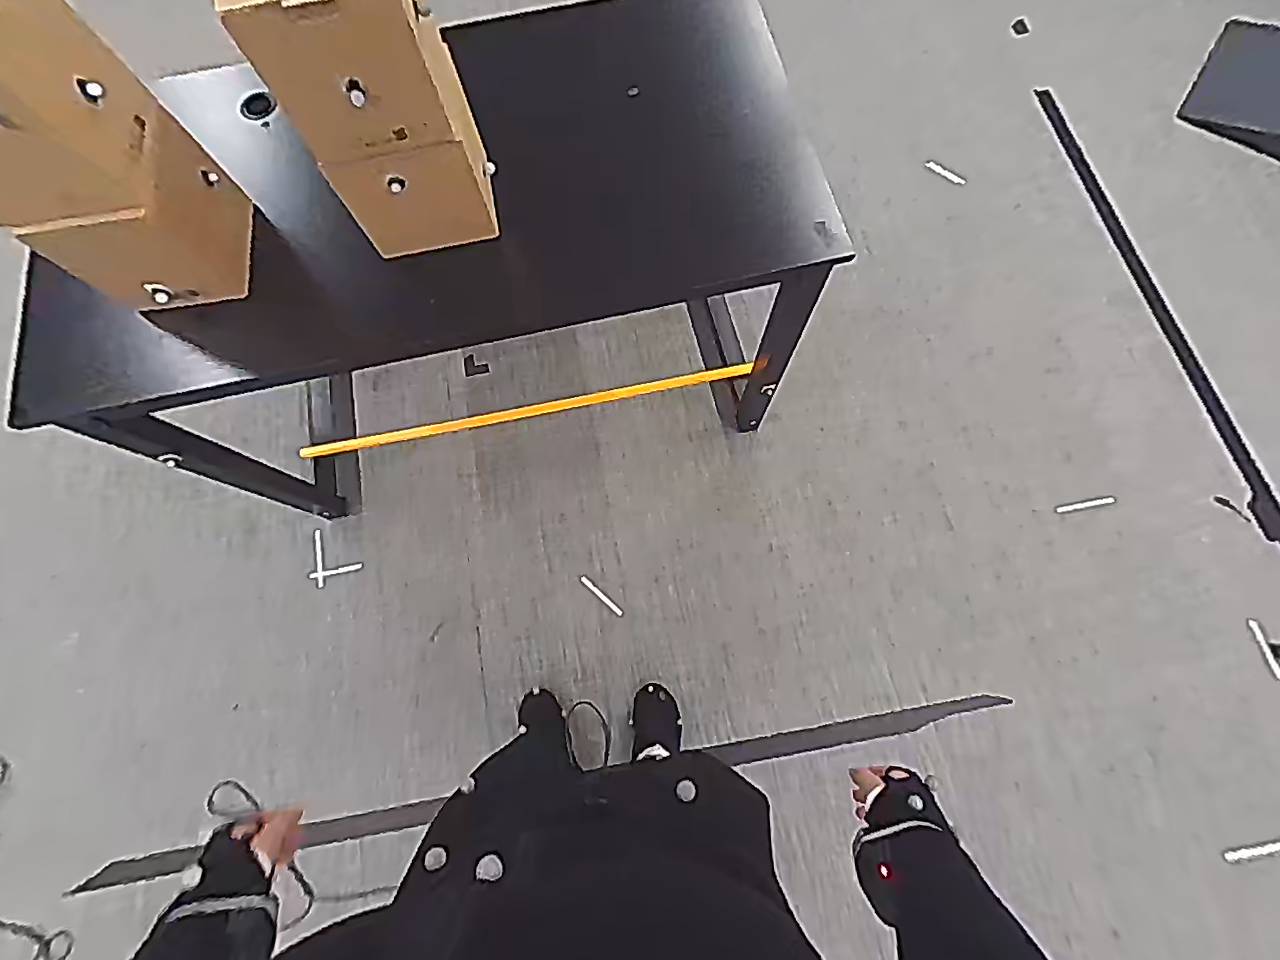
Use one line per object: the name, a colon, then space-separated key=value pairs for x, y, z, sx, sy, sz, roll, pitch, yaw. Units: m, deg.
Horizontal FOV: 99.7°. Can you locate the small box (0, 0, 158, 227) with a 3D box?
small box: x=-0.675 y=-0.404 z=0.579 sx=0.179 sy=0.176 sz=0.168 roll=-9 pitch=73 yaw=0

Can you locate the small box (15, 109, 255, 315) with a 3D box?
small box: x=-0.662 y=-0.354 z=0.735 sx=0.168 sy=0.176 sz=0.179 roll=-9 pitch=75 yaw=0

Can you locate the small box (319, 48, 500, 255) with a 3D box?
small box: x=-0.310 y=-0.440 z=0.746 sx=0.179 sy=0.176 sz=0.168 roll=-12 pitch=74 yaw=-2

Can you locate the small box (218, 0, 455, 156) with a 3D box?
small box: x=-0.316 y=-0.489 z=0.590 sx=0.168 sy=0.176 sz=0.179 roll=-13 pitch=75 yaw=-2
